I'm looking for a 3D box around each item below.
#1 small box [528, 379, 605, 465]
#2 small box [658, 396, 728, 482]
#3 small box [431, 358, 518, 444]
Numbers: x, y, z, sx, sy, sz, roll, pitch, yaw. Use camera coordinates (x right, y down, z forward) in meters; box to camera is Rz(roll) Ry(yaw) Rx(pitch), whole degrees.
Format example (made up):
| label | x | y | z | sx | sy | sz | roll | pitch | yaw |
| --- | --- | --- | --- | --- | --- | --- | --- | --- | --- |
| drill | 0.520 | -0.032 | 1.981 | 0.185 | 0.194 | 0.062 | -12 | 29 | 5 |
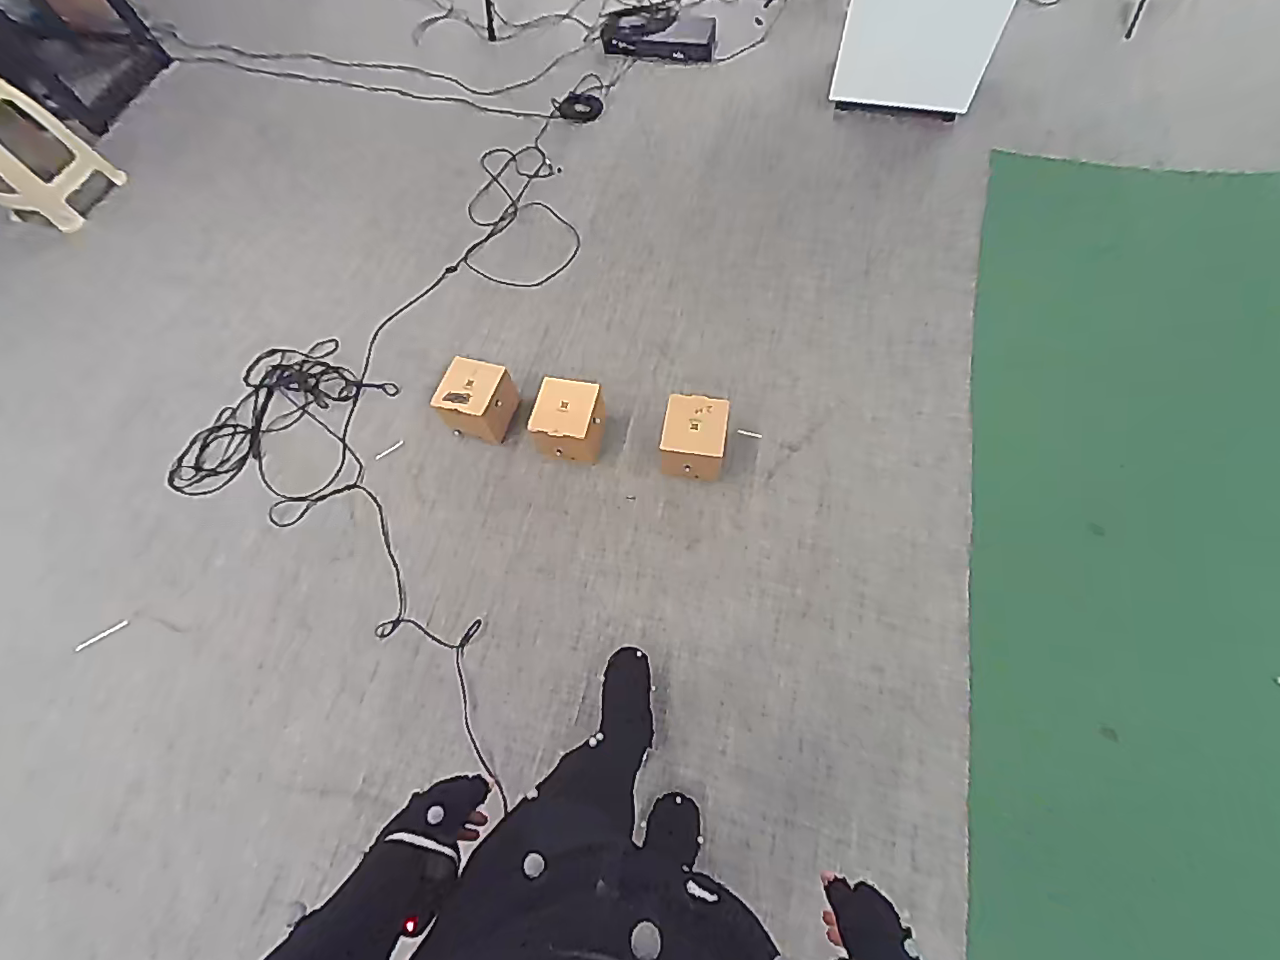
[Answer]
| label | x | y | z | sx | sy | sz | roll | pitch | yaw |
| --- | --- | --- | --- | --- | --- | --- | --- | --- | --- |
| small box | -0.204 | -0.164 | 1.563 | 0.168 | 0.176 | 0.179 | 9 | 67 | 9 |
| small box | 0.148 | -0.110 | 1.509 | 0.168 | 0.176 | 0.179 | 8 | 67 | 7 |
| small box | -0.483 | -0.230 | 1.613 | 0.168 | 0.176 | 0.179 | 14 | 66 | 11 |
